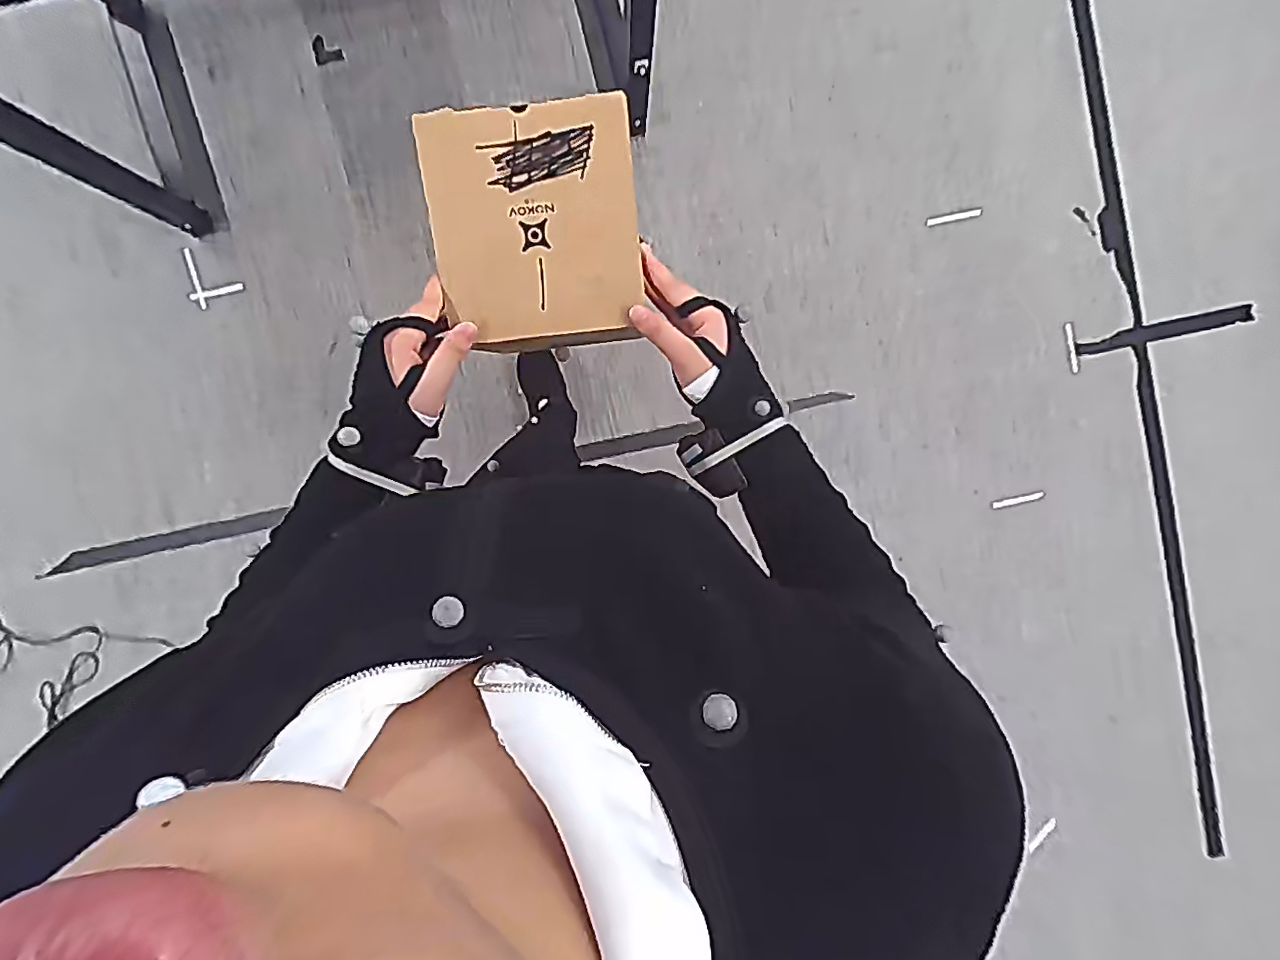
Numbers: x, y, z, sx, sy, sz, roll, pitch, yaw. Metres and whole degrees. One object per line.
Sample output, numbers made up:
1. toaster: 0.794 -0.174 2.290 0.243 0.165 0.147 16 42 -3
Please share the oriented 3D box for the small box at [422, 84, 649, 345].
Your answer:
1. small box: -0.082 -0.228 0.510 0.168 0.176 0.179 -6 101 1
